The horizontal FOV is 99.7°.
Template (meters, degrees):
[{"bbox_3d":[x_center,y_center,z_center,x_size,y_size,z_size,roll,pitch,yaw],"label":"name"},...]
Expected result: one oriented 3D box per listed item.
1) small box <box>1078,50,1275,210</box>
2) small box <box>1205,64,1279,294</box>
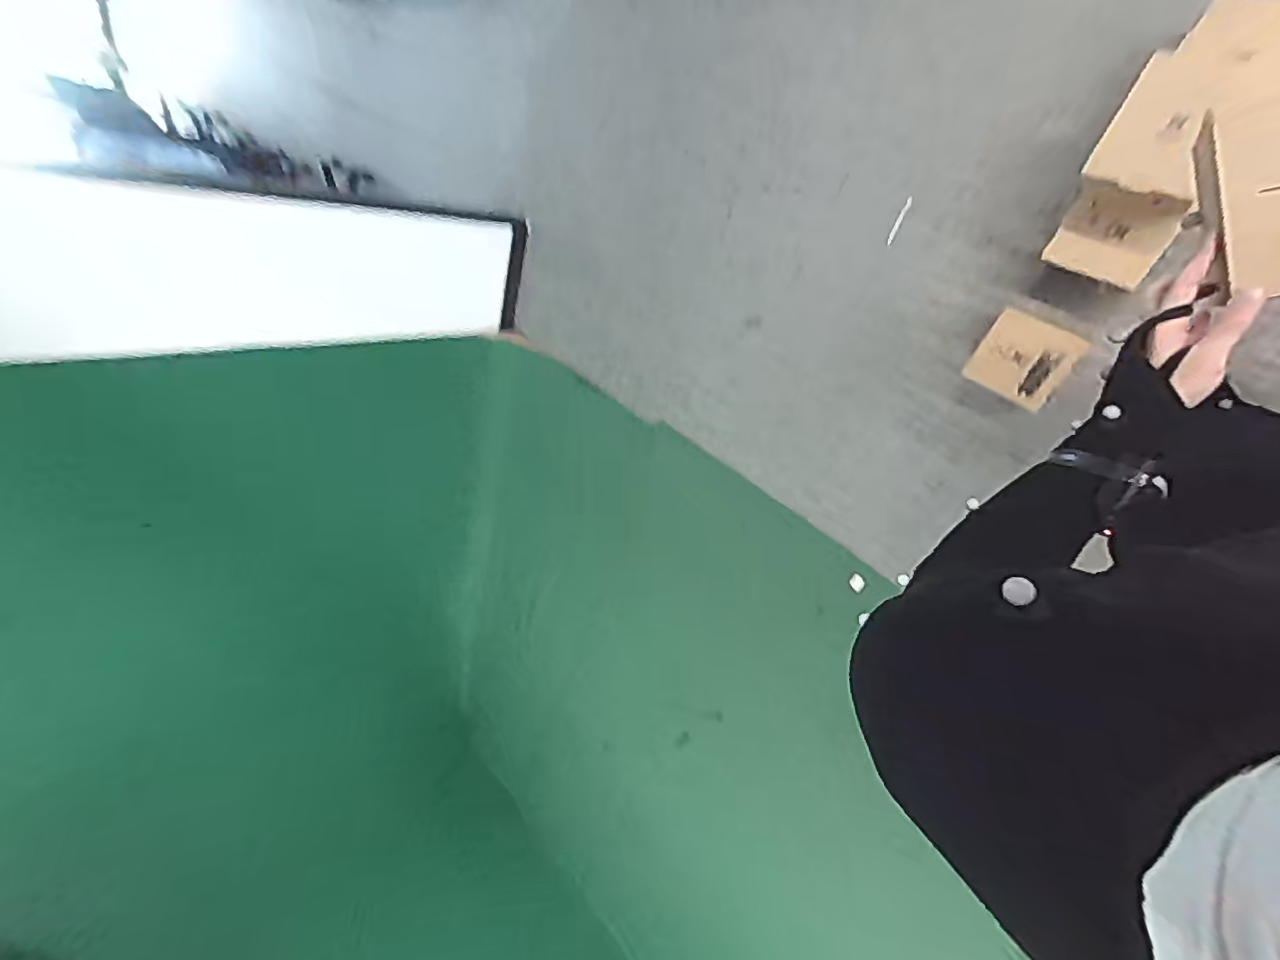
[{"bbox_3d":[0.877,-0.568,0.896,0.168,0.176,0.179,36,123,27],"label":"small box"},{"bbox_3d":[0.595,-0.258,0.435,0.179,0.176,0.168,-6,99,43],"label":"small box"}]
